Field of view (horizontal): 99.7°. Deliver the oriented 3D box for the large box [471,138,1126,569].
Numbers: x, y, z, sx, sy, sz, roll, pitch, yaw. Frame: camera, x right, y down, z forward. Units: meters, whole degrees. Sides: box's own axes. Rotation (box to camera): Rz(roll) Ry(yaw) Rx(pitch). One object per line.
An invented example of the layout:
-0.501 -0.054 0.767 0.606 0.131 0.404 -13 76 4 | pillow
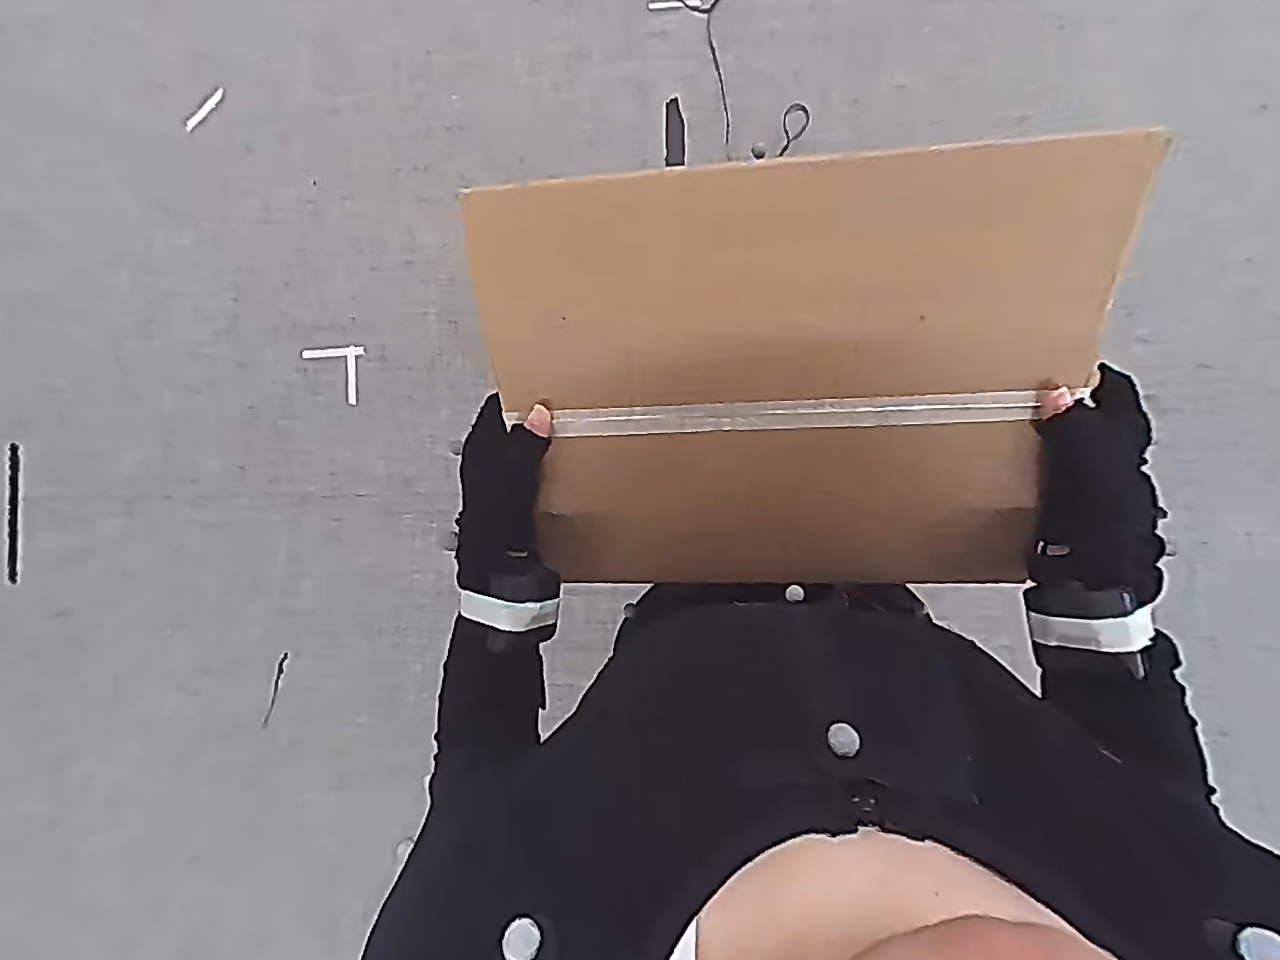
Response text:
0.111 -0.129 0.533 0.408 0.320 0.320 -1 119 7 | large box
